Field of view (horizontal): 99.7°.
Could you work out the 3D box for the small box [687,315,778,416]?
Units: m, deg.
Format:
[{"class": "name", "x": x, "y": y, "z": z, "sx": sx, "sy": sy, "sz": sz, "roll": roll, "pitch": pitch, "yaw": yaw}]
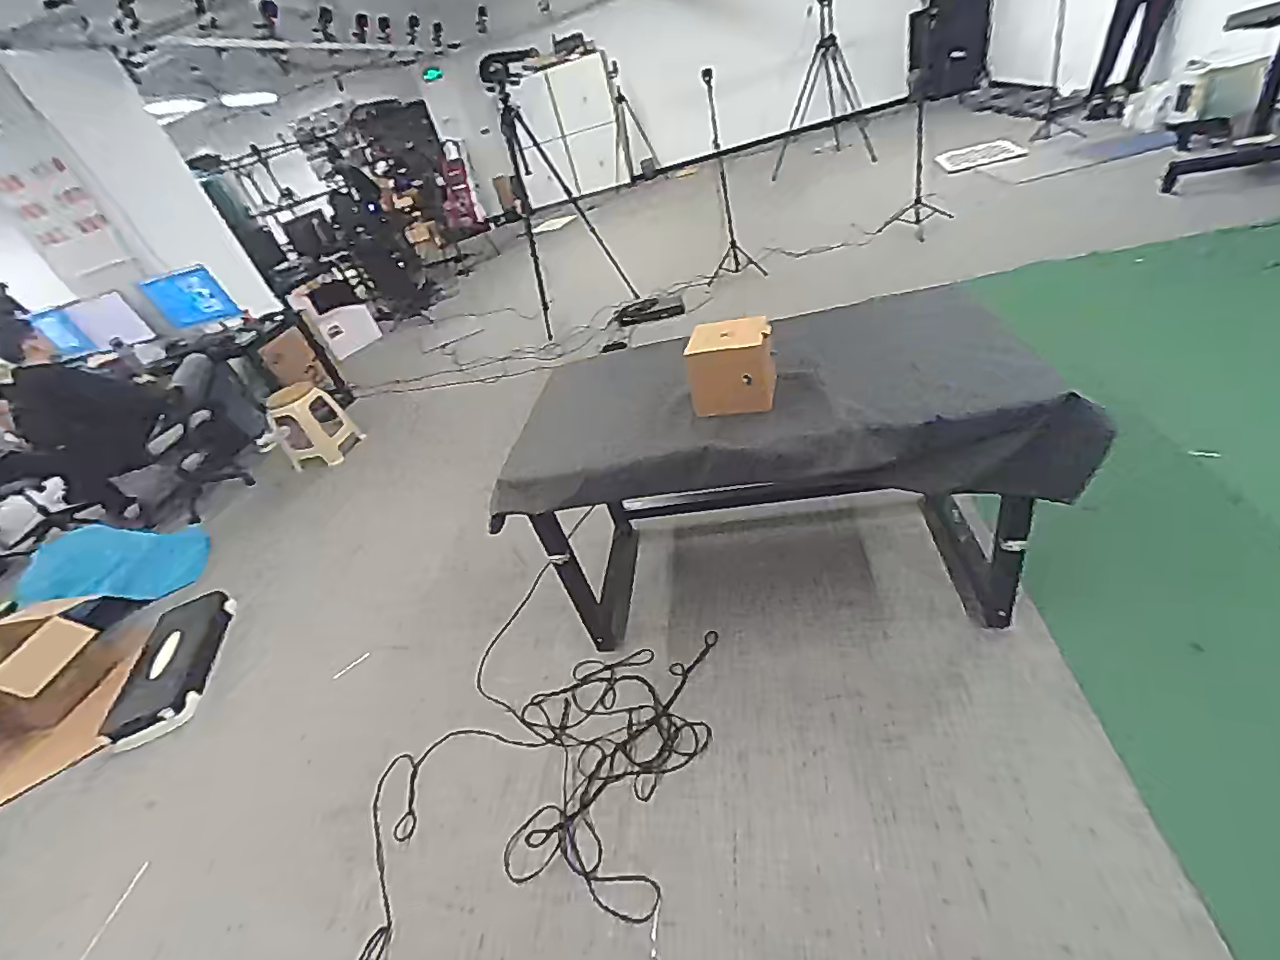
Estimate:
[{"class": "small box", "x": 0.226, "y": -0.266, "z": 1.274, "sx": 0.179, "sy": 0.176, "sz": 0.168, "roll": -3, "pitch": 37, "yaw": 22}]
